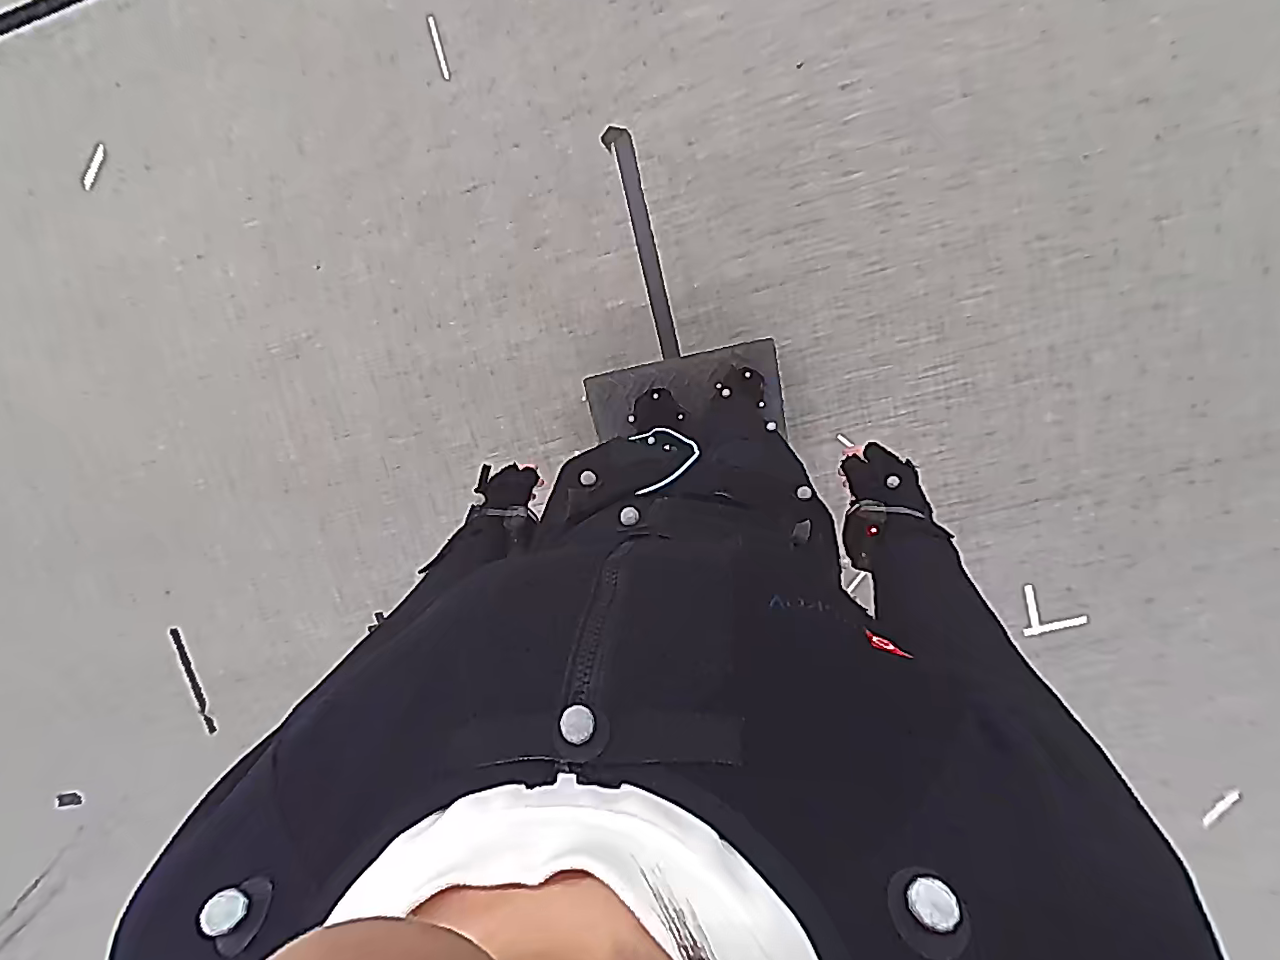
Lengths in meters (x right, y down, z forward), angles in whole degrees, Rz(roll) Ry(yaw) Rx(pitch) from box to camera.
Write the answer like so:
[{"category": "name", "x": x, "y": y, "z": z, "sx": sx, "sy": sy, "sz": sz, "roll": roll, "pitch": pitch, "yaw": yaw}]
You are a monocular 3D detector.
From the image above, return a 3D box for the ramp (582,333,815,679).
[{"category": "ramp", "x": 0.197, "y": 0.133, "z": 1.522, "sx": 0.509, "sy": 0.206, "sz": 0.991, "roll": -13, "pitch": 100, "yaw": 6}]
